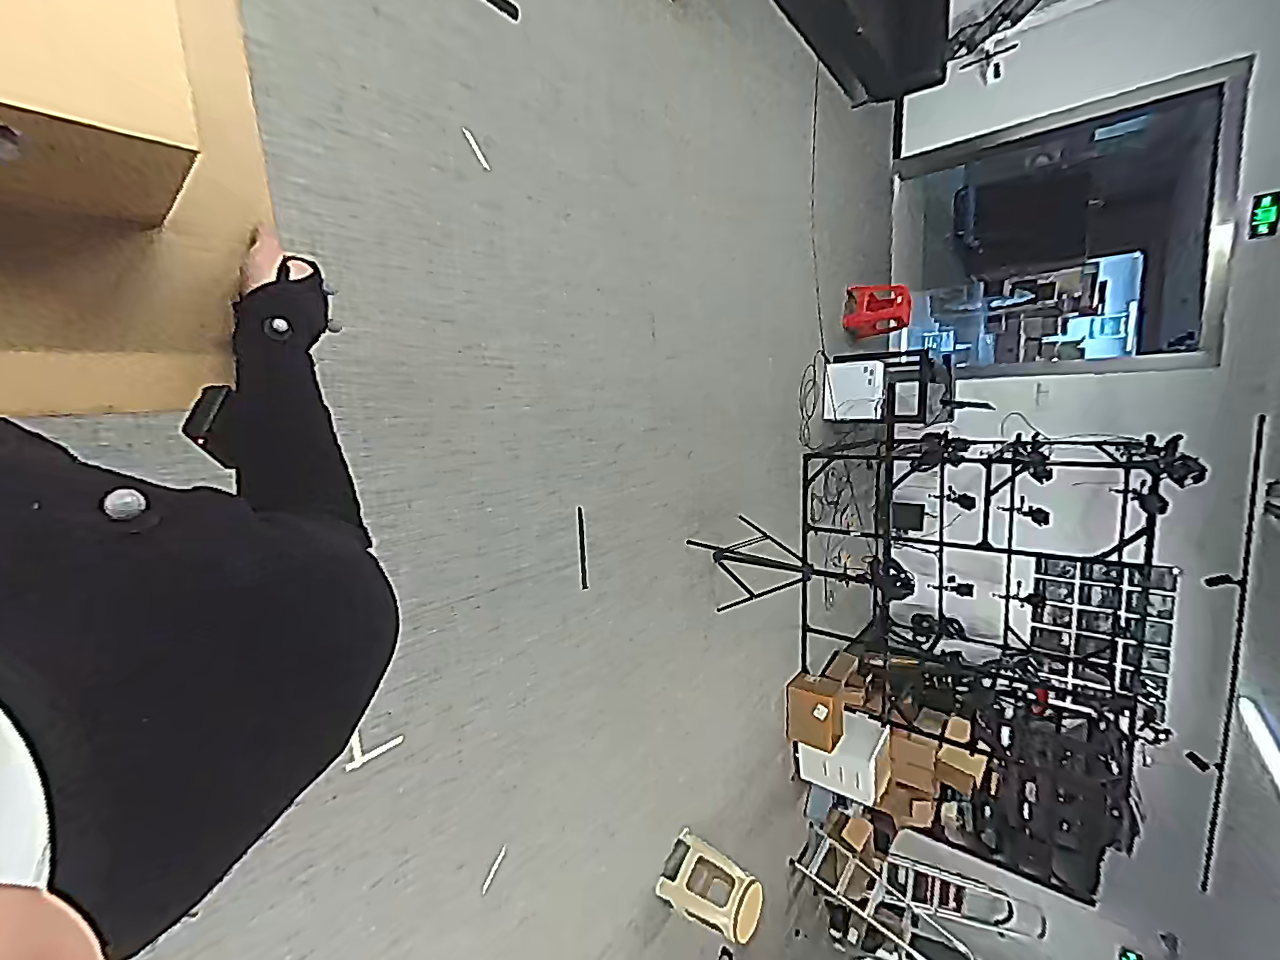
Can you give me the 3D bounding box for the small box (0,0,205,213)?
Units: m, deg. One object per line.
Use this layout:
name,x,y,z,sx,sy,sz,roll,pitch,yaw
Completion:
small box,-0.442,-0.307,0.377,0.179,0.176,0.168,-12,100,-47
